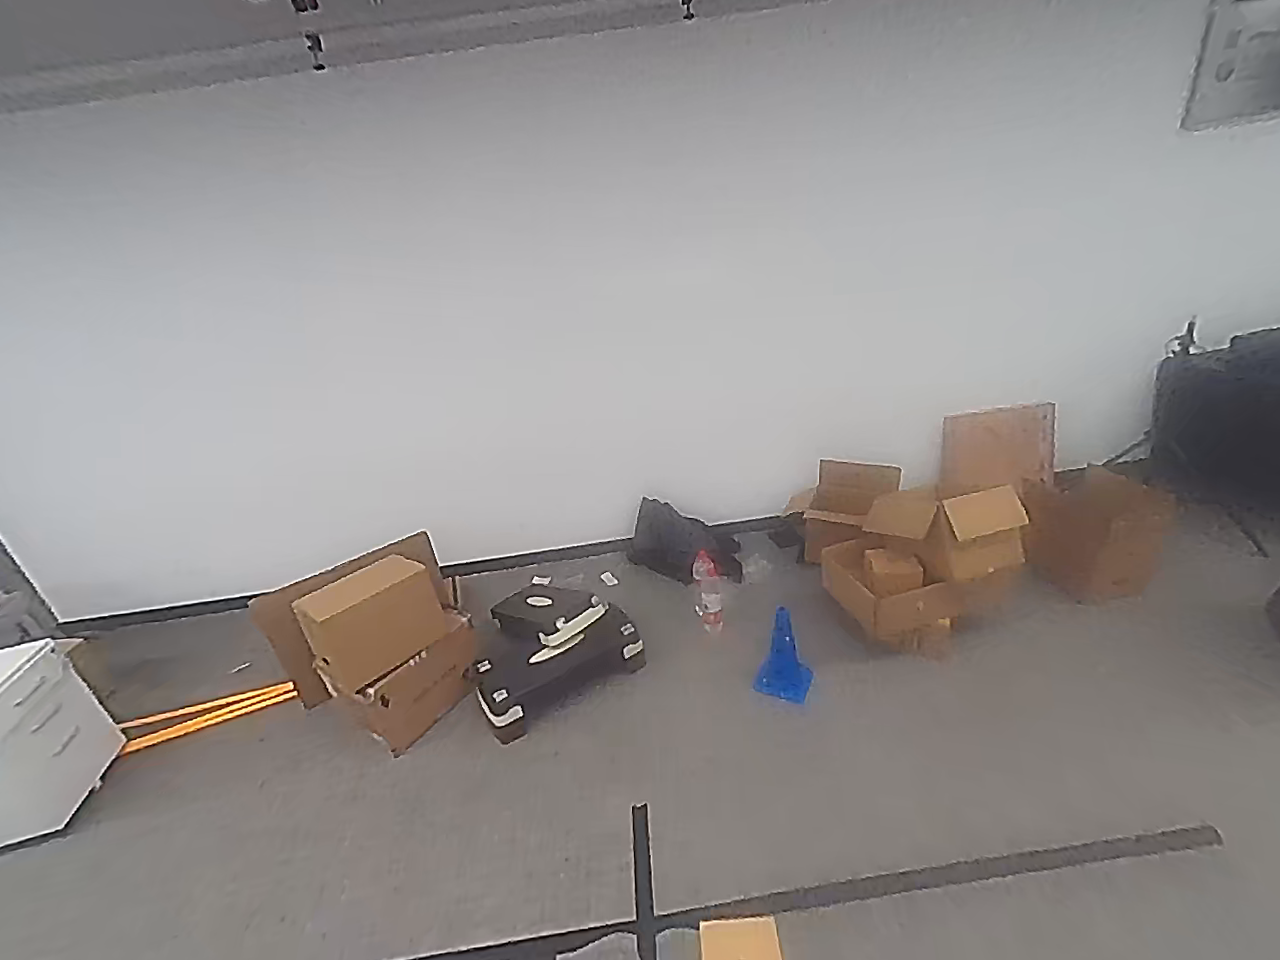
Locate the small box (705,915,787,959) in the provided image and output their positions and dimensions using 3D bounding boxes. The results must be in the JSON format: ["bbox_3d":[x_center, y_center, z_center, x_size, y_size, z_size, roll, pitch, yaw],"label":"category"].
[{"bbox_3d":[0.228,1.063,1.136,0.168,0.176,0.179,-6,26,3],"label":"small box"}]
